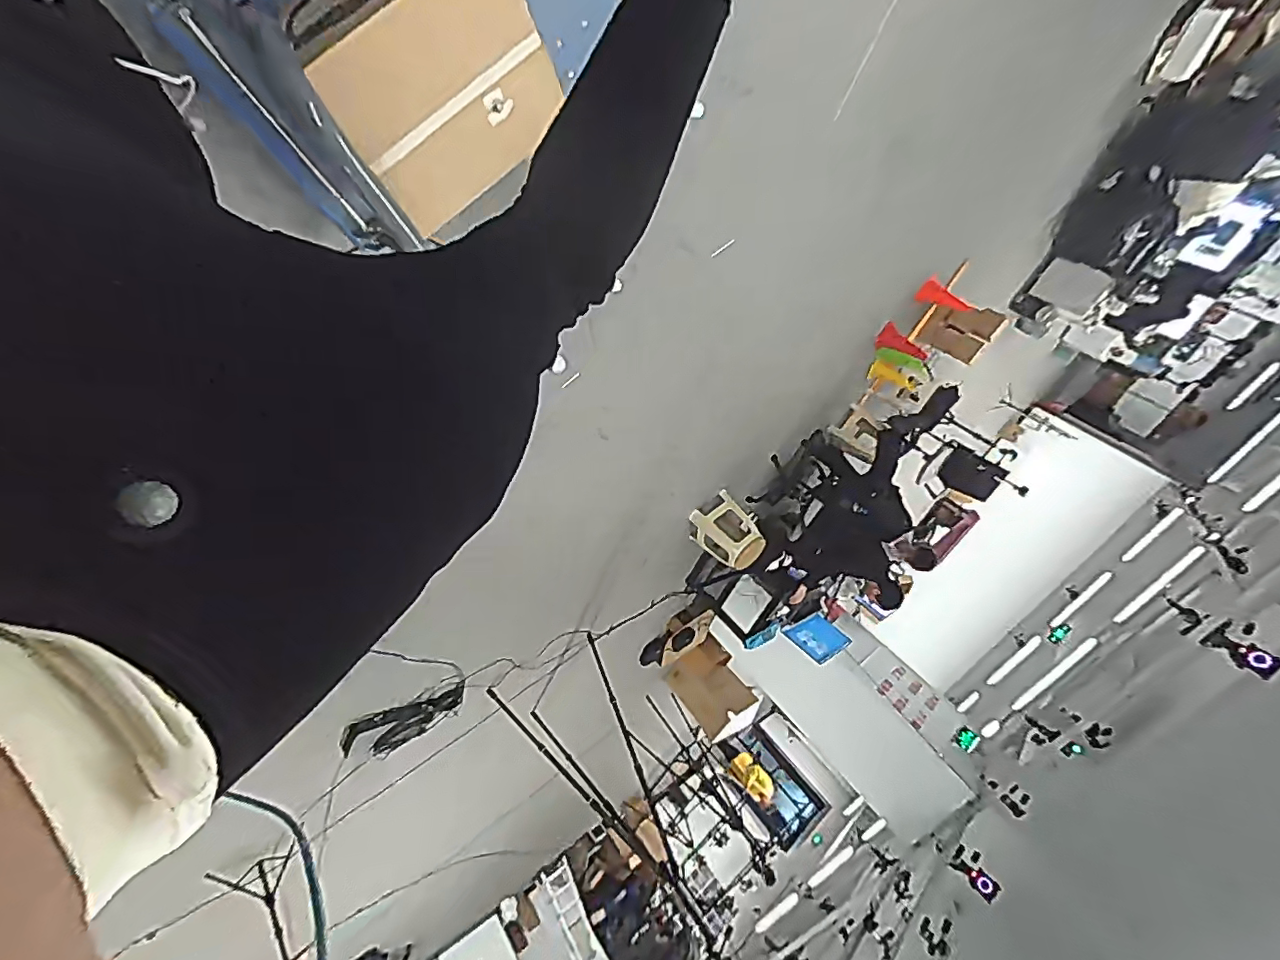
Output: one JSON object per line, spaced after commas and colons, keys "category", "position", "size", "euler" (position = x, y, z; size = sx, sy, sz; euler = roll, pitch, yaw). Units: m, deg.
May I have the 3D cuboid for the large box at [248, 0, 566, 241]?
{"category": "large box", "position": [-0.430, -0.756, 1.034], "size": [0.408, 0.320, 0.320], "euler": [-43, 150, -6]}
